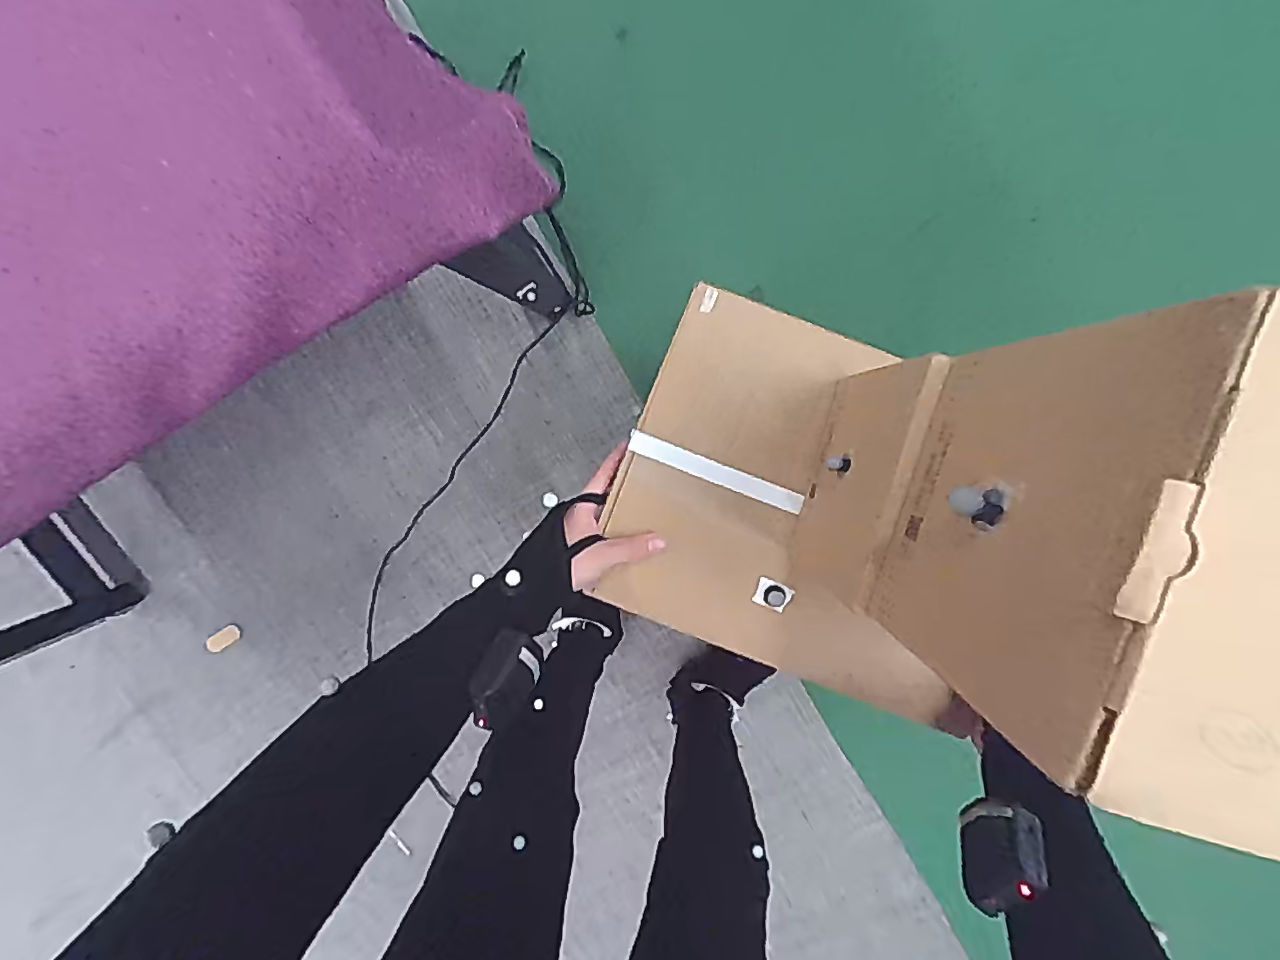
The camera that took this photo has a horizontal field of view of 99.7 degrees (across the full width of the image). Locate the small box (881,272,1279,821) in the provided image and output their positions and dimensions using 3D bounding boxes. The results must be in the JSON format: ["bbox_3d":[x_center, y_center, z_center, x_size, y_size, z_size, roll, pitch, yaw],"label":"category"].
[{"bbox_3d":[0.242,0.030,0.250,0.179,0.176,0.168,16,96,1],"label":"small box"}]
